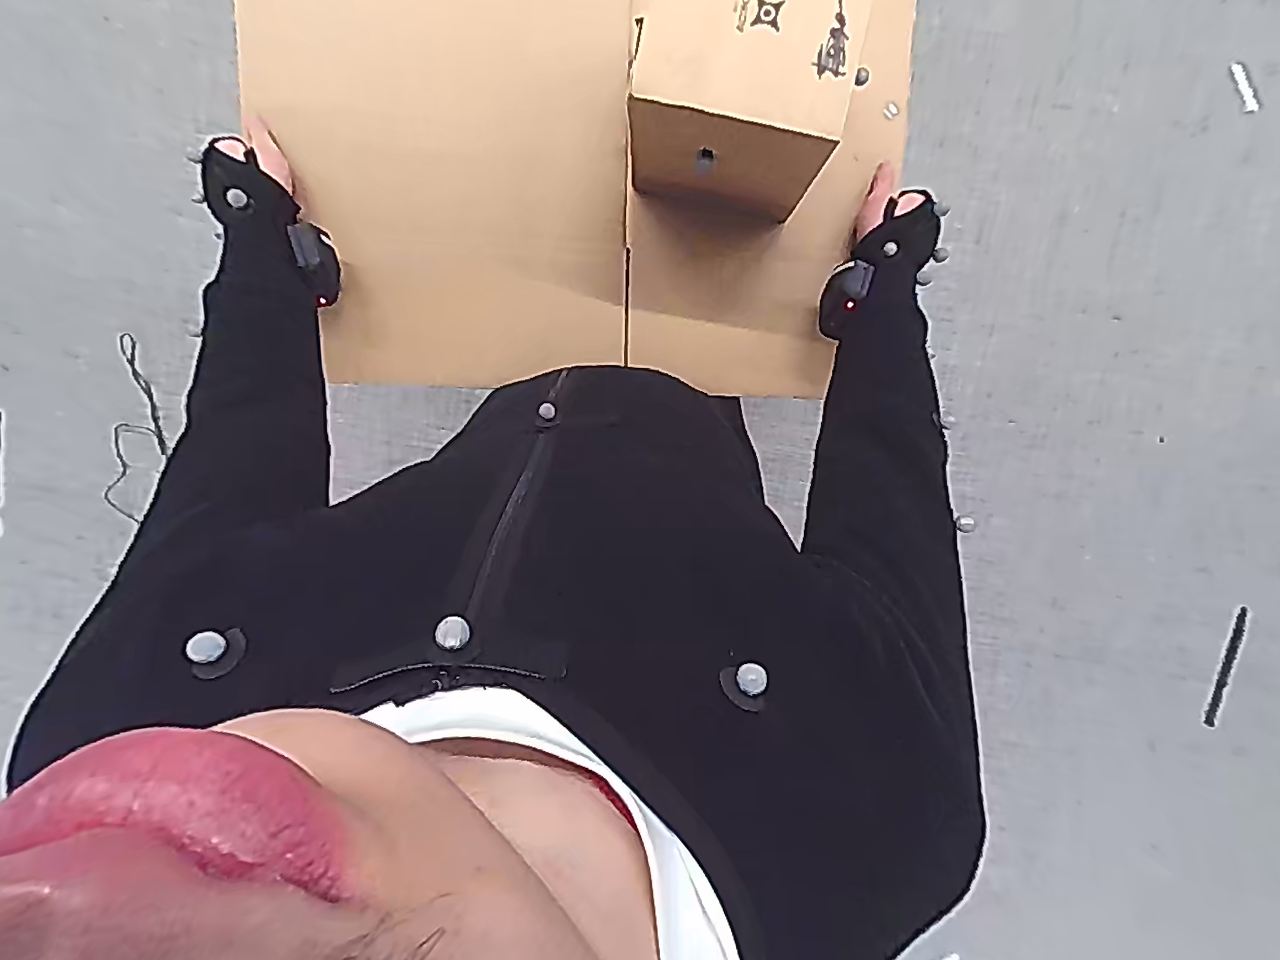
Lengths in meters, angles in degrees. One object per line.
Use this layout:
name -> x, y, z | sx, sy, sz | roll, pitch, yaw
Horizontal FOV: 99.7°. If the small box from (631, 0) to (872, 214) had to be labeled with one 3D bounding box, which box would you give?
small box -> 0.096, -0.376, 0.509 | 0.179, 0.176, 0.168 | 12, 96, 0
